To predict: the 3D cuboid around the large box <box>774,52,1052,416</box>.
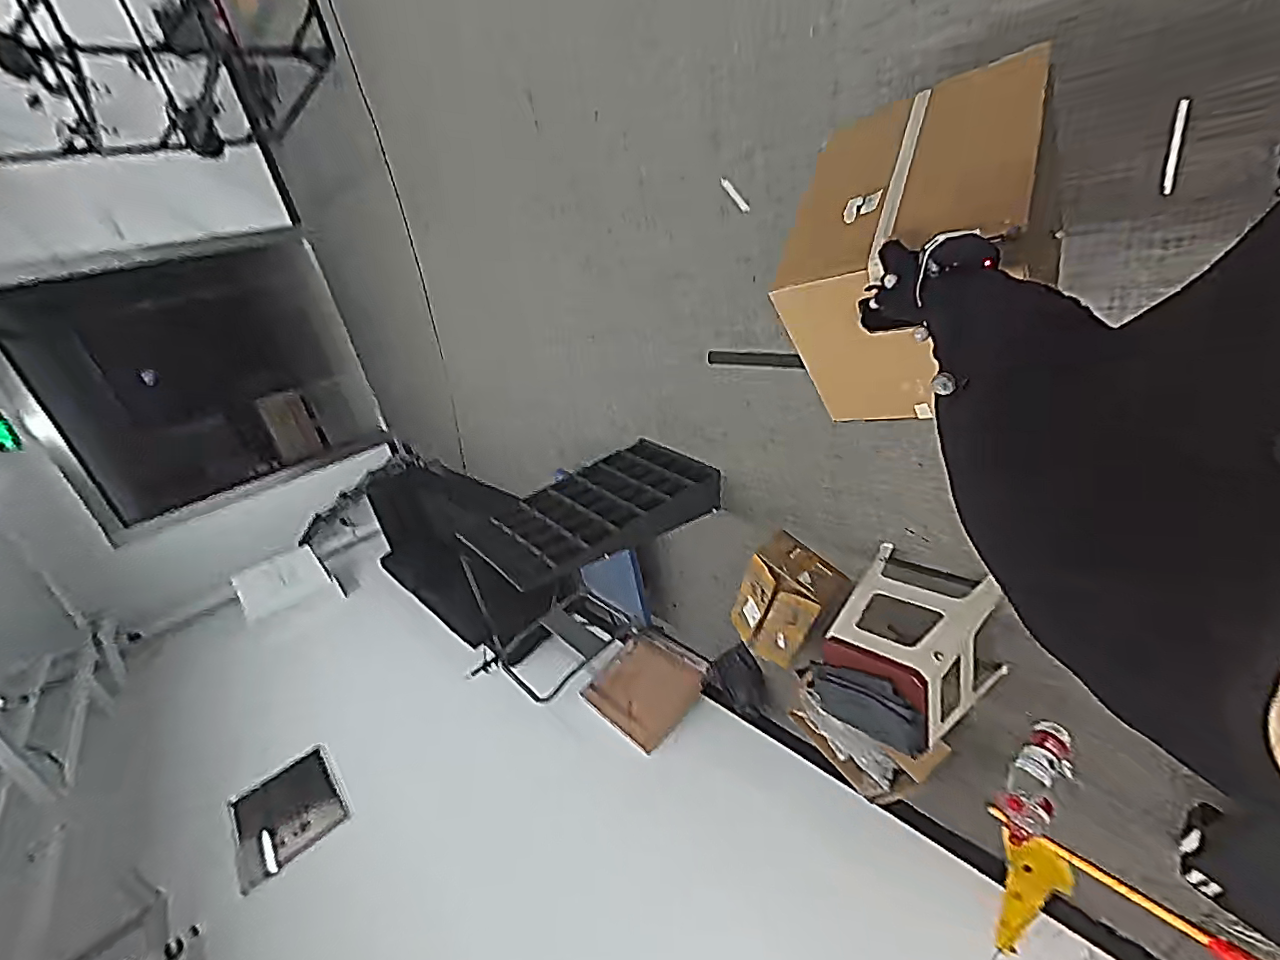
[{"bbox_3d":[0.460,-0.358,0.870,0.320,0.408,0.320,2,149,41],"label":"large box"}]
